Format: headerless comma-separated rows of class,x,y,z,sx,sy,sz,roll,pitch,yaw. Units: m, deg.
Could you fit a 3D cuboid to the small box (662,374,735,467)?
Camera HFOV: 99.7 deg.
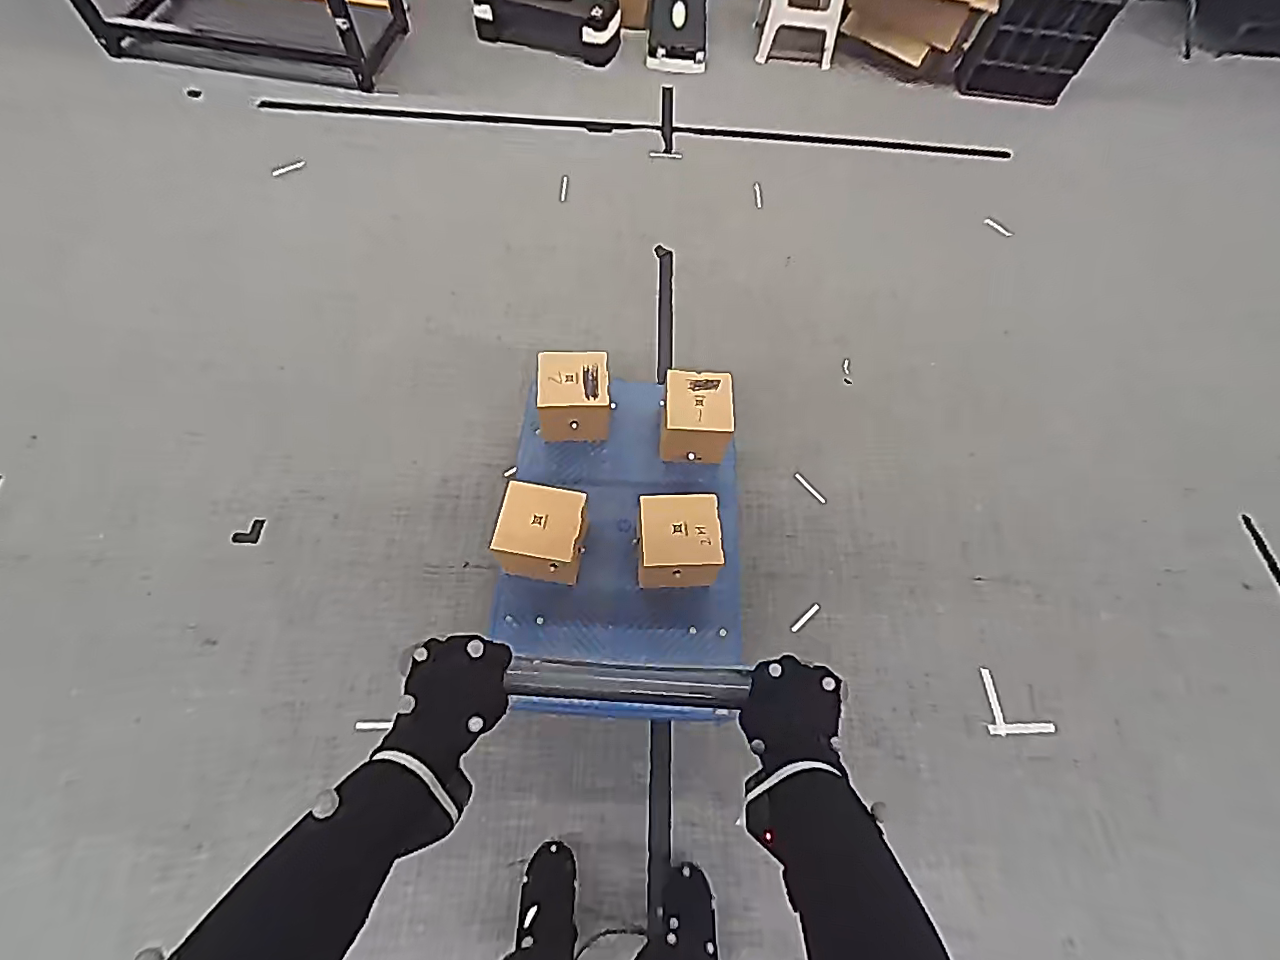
small box,0.146,-0.152,1.407,0.168,0.176,0.179,3,64,-2

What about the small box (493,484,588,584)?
small box,-0.220,0.129,1.242,0.179,0.176,0.168,10,63,-1

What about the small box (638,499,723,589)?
small box,0.086,0.151,1.252,0.179,0.176,0.168,0,64,-4
